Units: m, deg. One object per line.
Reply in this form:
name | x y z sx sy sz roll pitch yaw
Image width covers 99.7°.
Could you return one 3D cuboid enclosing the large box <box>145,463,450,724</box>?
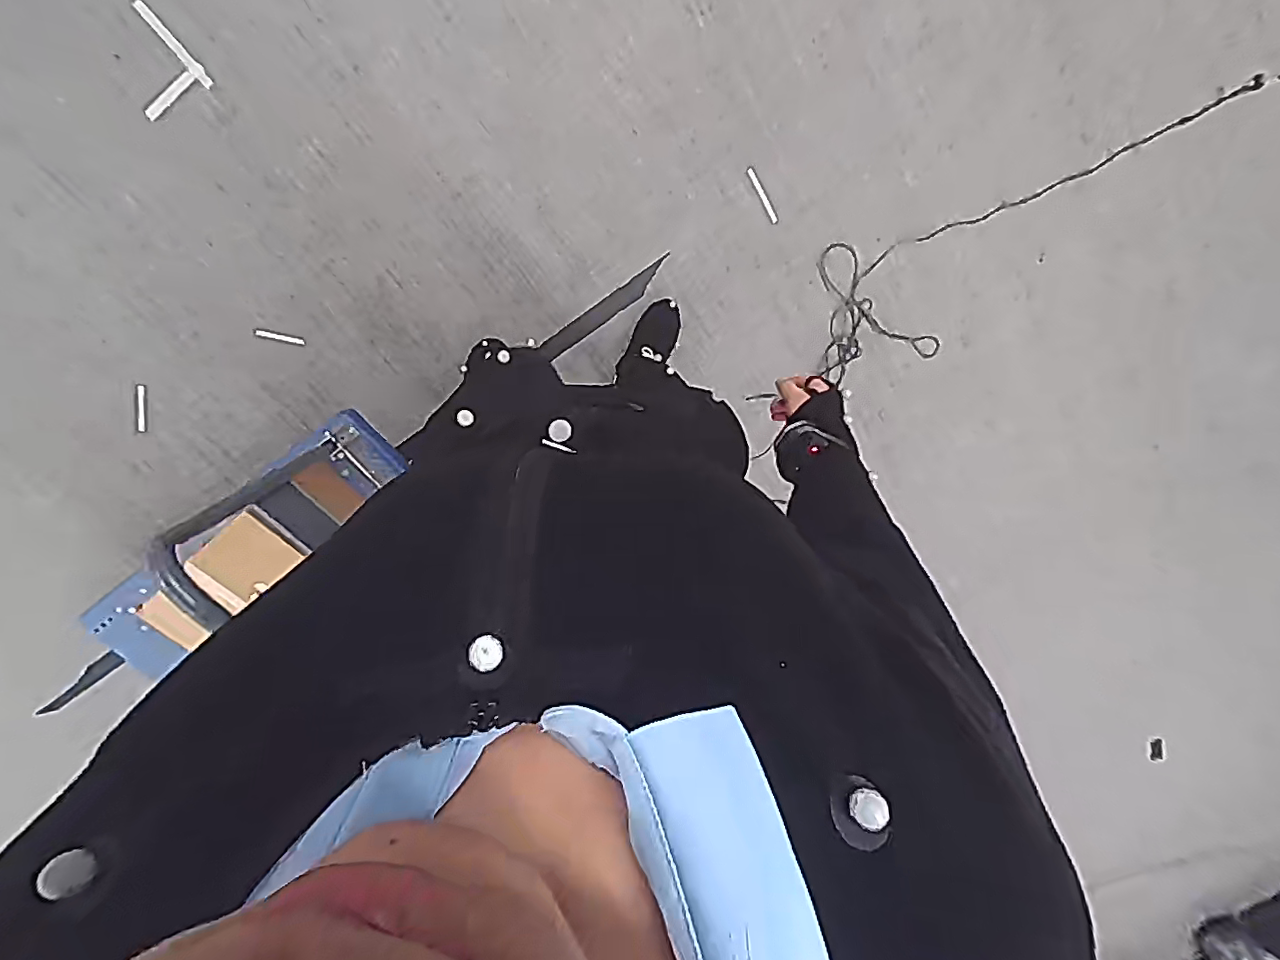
large box | -0.703 0.236 1.193 0.320 0.320 0.408 -40 108 7
